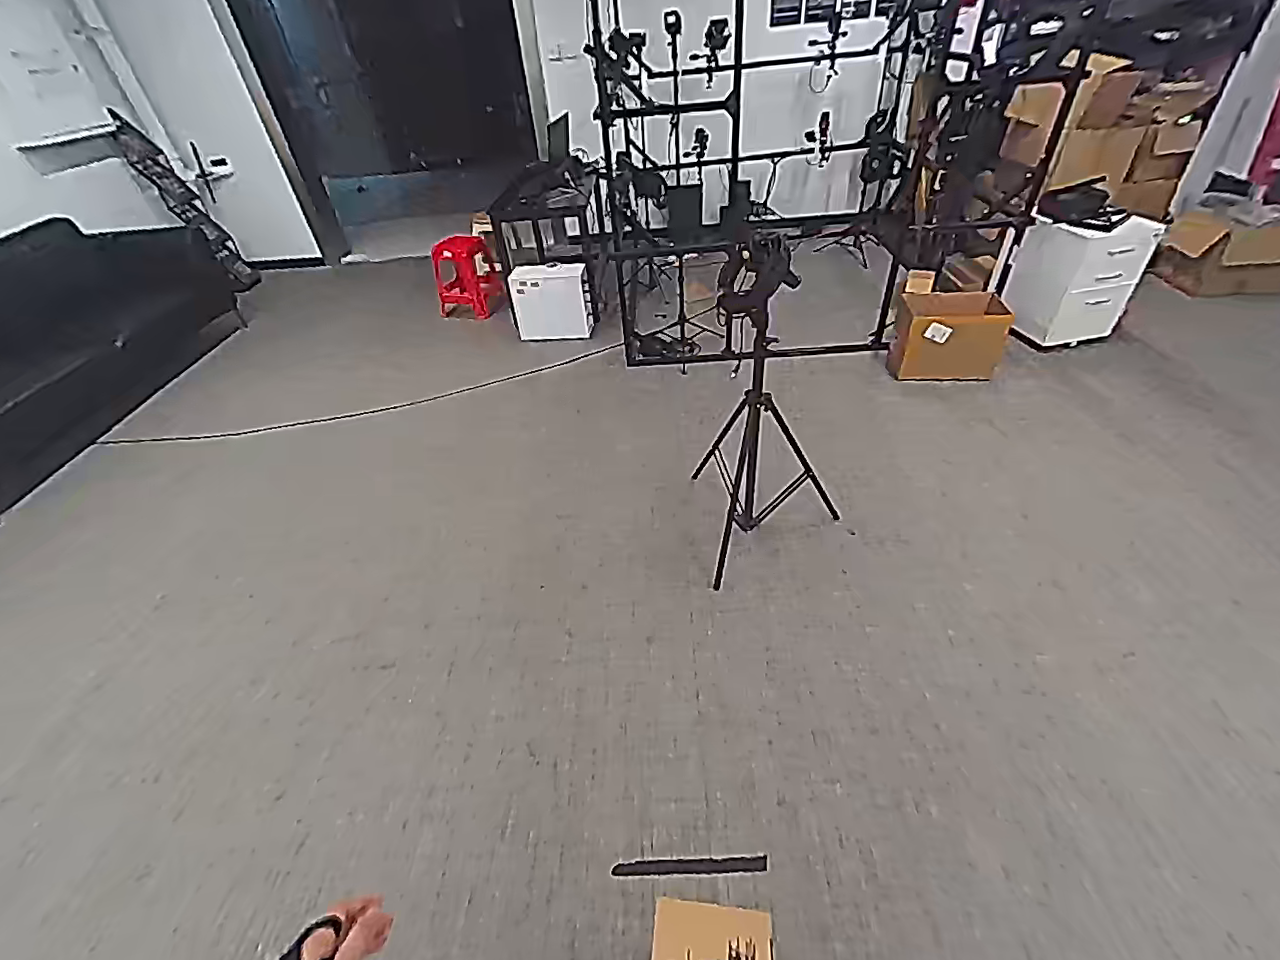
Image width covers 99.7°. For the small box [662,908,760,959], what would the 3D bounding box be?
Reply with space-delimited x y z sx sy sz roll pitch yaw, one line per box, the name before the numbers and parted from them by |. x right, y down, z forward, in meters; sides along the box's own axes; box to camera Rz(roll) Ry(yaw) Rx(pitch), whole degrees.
small box | 0.119 0.872 0.929 0.168 0.176 0.179 0 41 7
